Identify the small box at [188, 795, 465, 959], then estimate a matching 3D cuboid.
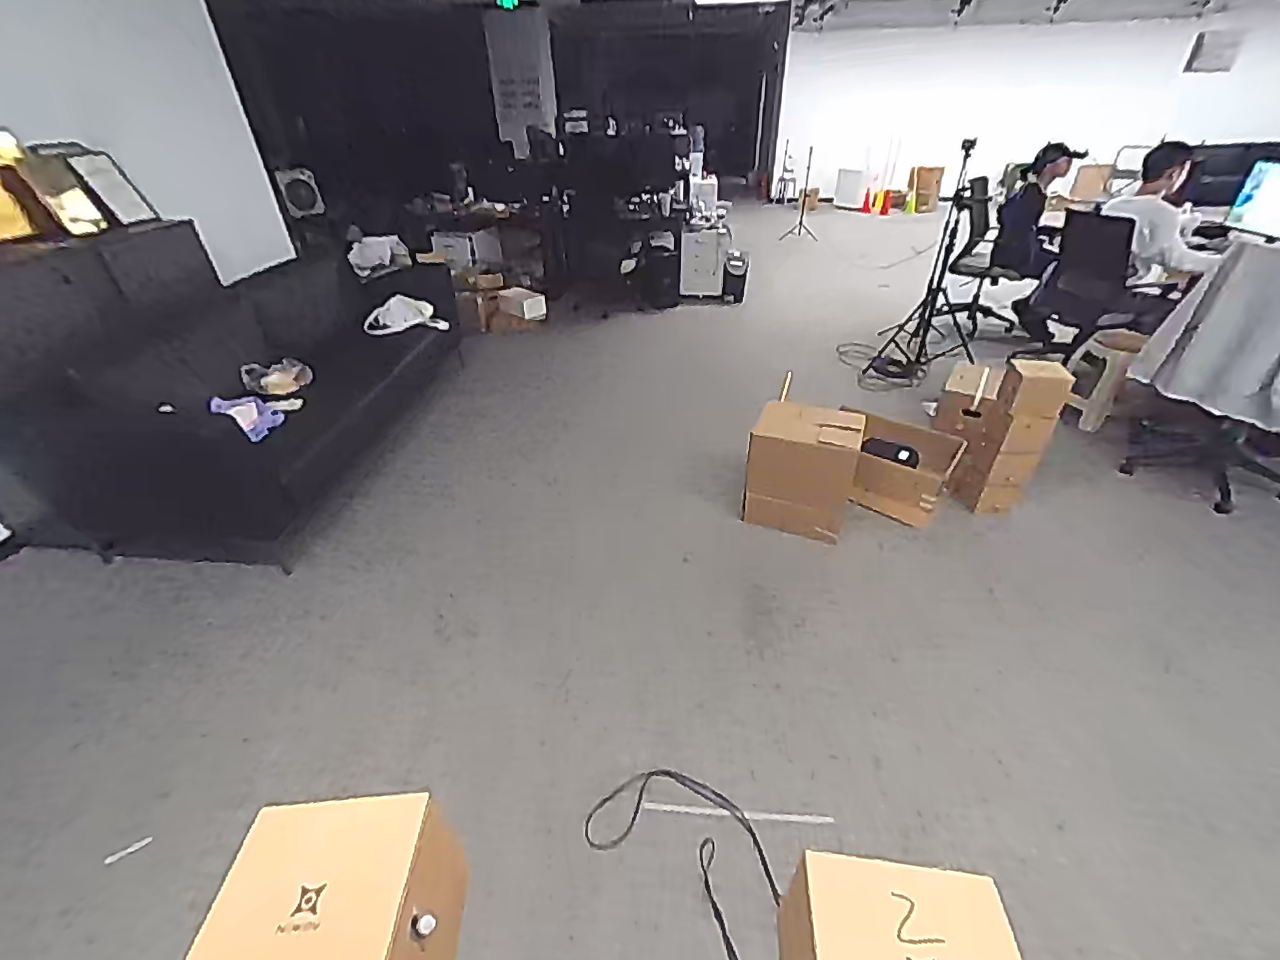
[{"bbox_3d":[-0.272,0.425,0.497,0.168,0.176,0.179,-4,34,-1],"label":"small box"}]
